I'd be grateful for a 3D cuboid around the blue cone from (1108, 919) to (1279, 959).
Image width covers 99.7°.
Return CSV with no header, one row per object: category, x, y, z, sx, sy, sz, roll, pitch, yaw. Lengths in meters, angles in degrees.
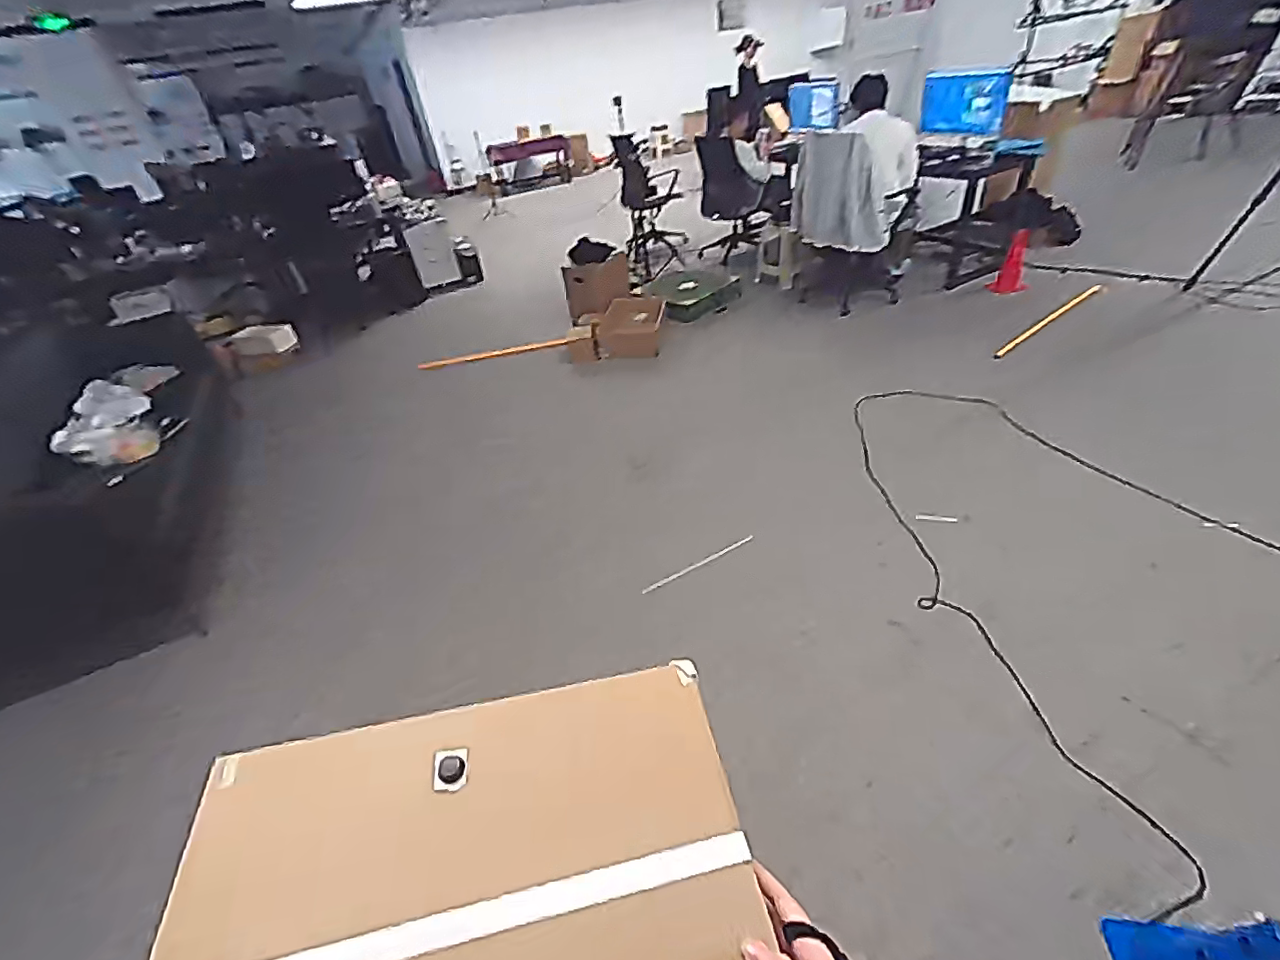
blue cone,0.995,0.810,0.902,0.192,0.380,0.193,-3,39,10
